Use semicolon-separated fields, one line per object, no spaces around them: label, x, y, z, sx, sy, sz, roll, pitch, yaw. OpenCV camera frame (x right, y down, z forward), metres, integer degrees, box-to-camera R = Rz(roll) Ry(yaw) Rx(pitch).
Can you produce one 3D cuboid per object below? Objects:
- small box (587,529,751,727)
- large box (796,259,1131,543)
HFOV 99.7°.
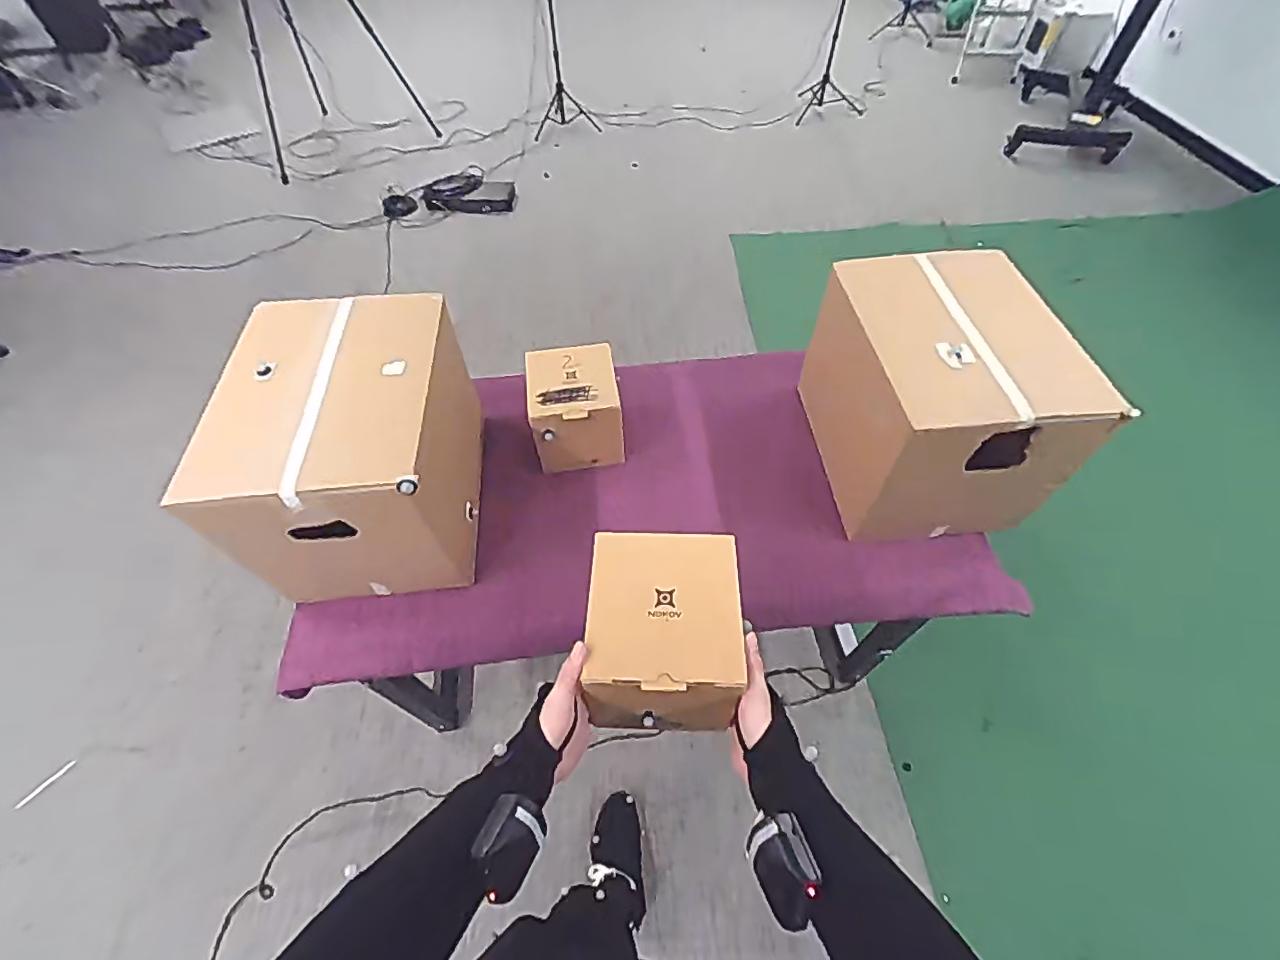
small box;0.030;0.177;0.642;0.168;0.176;0.179;1;53;1
large box;0.511;-0.142;0.974;0.320;0.320;0.408;-5;55;-1
